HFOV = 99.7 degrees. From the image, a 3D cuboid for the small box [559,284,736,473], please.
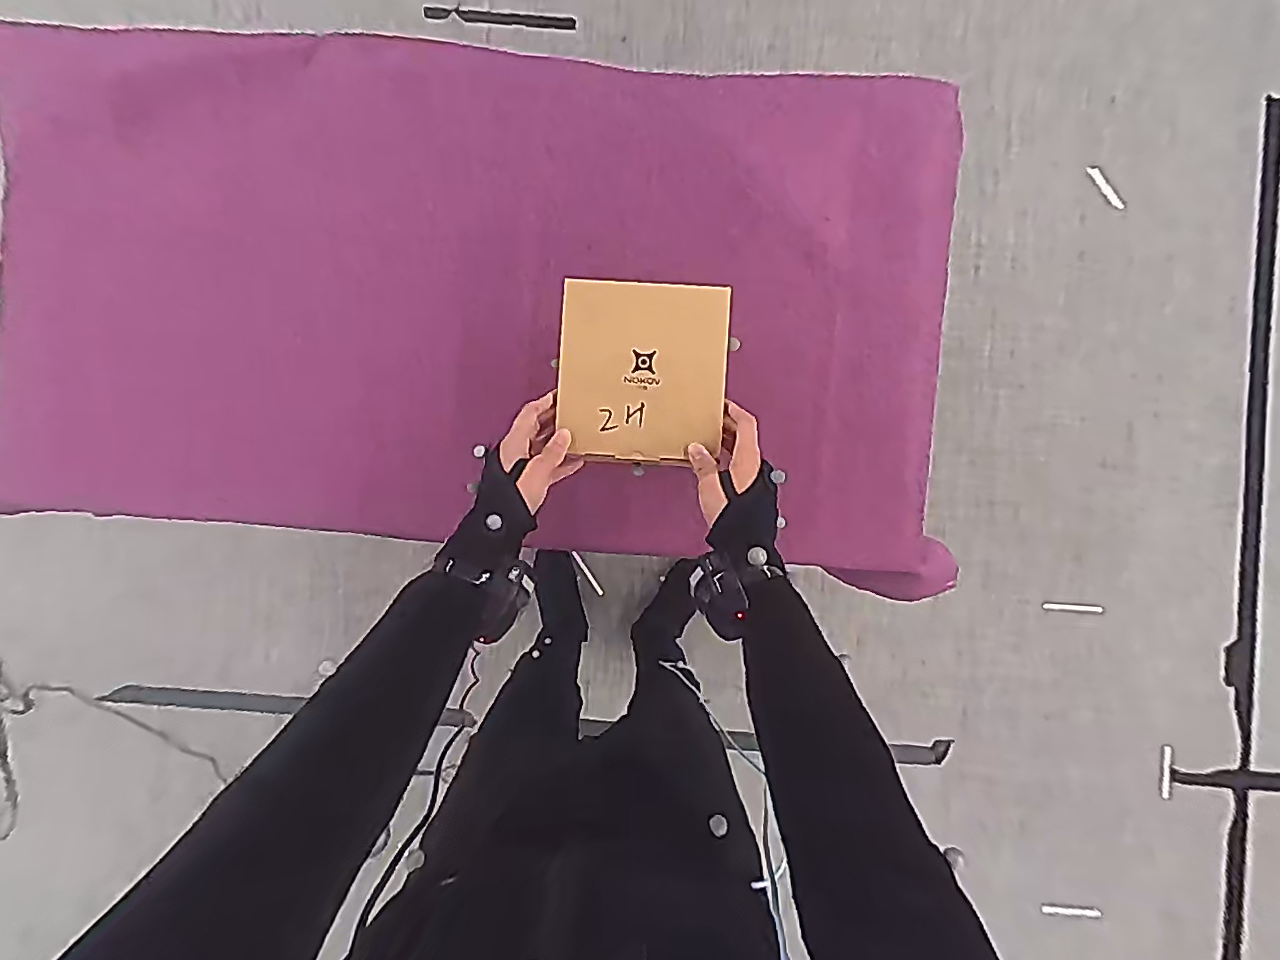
[{"bbox_3d":[0.008,-0.102,0.615,0.168,0.176,0.179,4,90,2],"label":"small box"}]
